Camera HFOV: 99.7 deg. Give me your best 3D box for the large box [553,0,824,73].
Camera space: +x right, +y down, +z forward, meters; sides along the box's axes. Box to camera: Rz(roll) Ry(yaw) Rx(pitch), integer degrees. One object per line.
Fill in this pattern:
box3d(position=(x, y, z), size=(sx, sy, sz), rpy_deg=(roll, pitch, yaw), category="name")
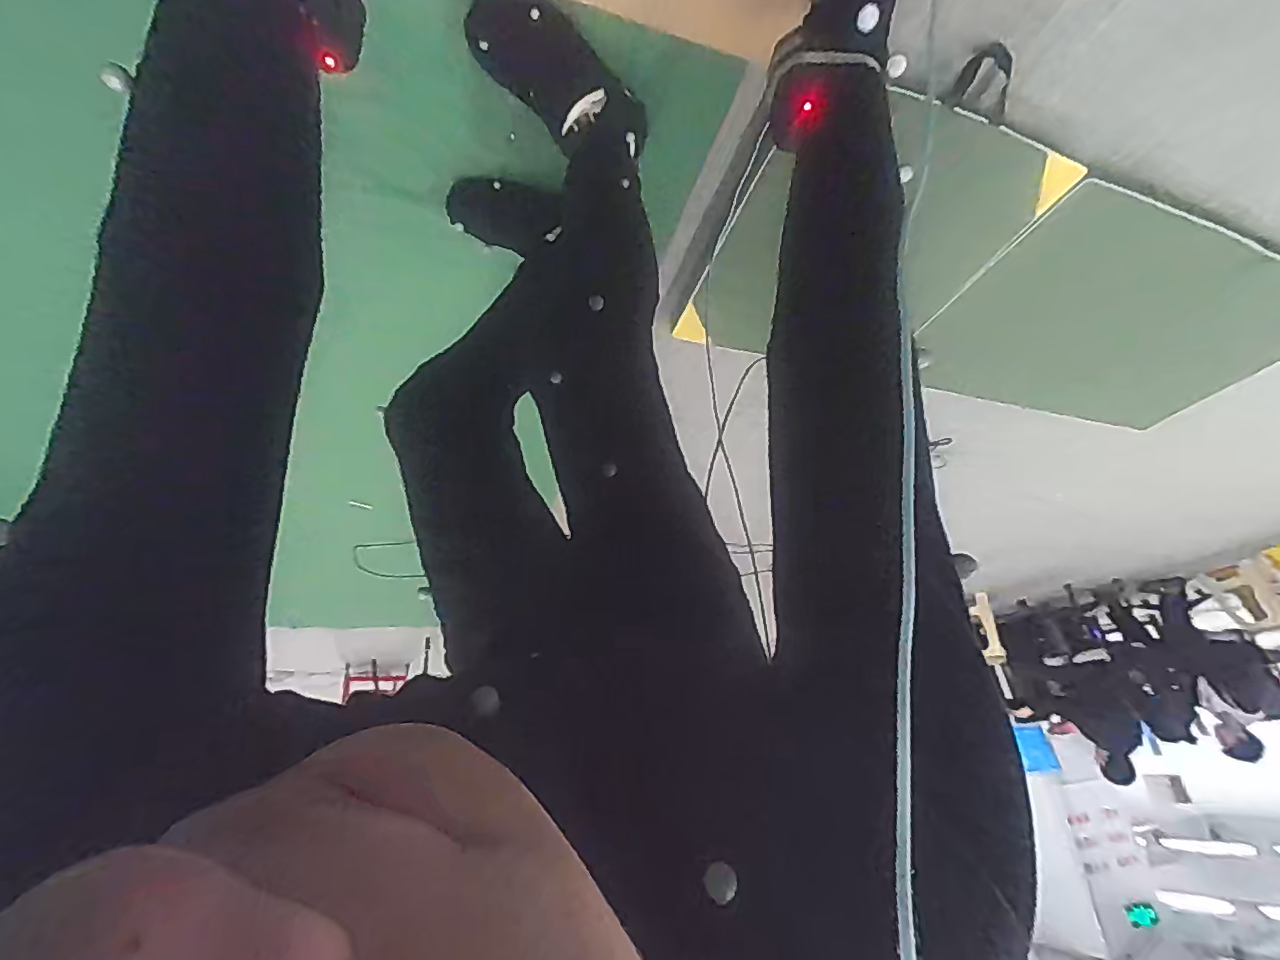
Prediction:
box3d(position=(-0.003, -0.630, 0.440), size=(0.408, 0.320, 0.320), rpy_deg=(7, 151, -15), category="large box")
